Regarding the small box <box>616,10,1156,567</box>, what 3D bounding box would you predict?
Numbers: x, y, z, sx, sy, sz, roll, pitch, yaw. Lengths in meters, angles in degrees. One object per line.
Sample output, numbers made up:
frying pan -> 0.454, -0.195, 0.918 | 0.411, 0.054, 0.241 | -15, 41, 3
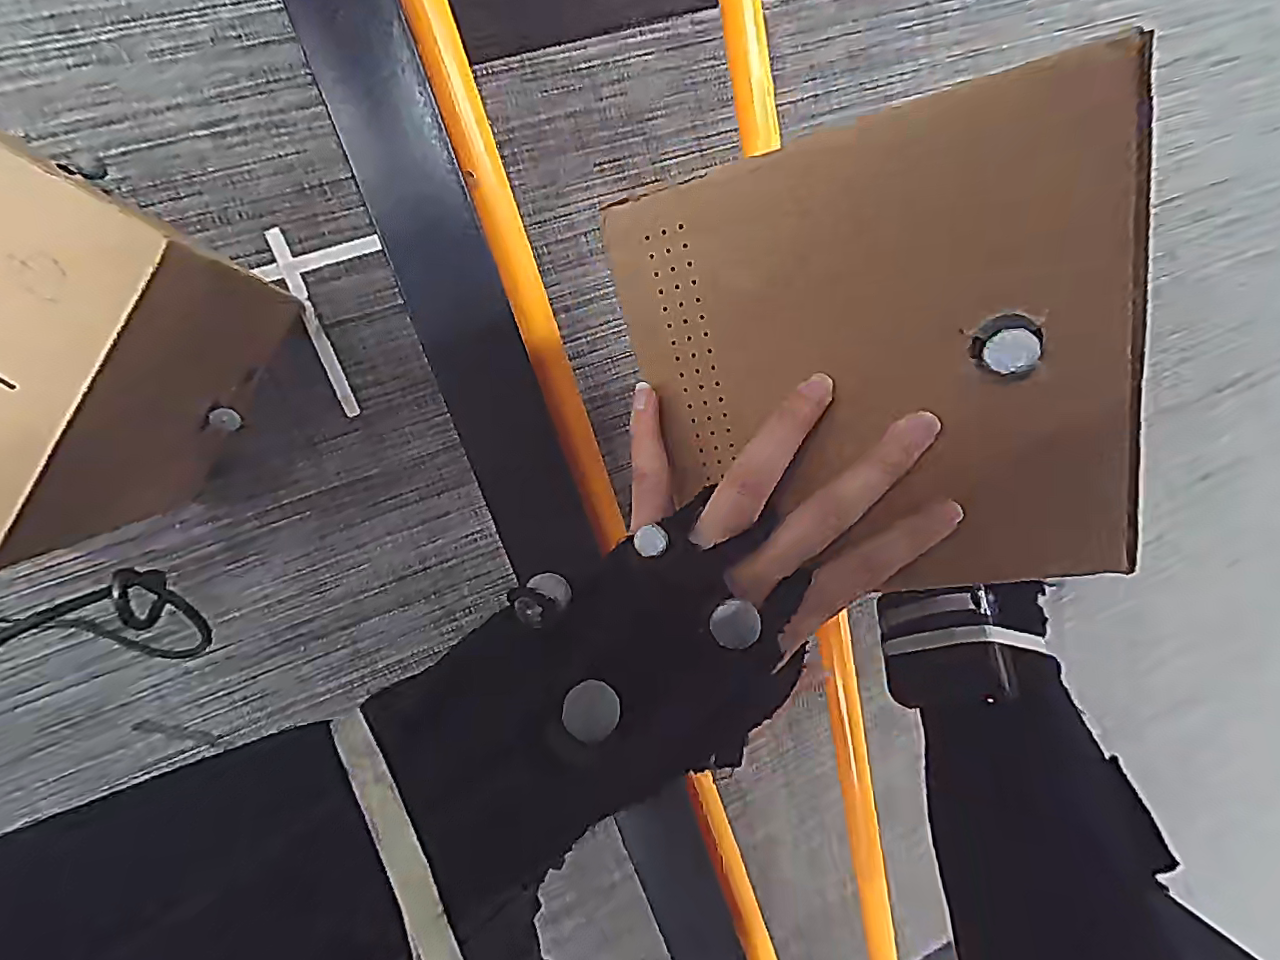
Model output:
small box -> 0.105, -0.069, 0.273 | 0.176, 0.168, 0.179 | -11, 110, 18
